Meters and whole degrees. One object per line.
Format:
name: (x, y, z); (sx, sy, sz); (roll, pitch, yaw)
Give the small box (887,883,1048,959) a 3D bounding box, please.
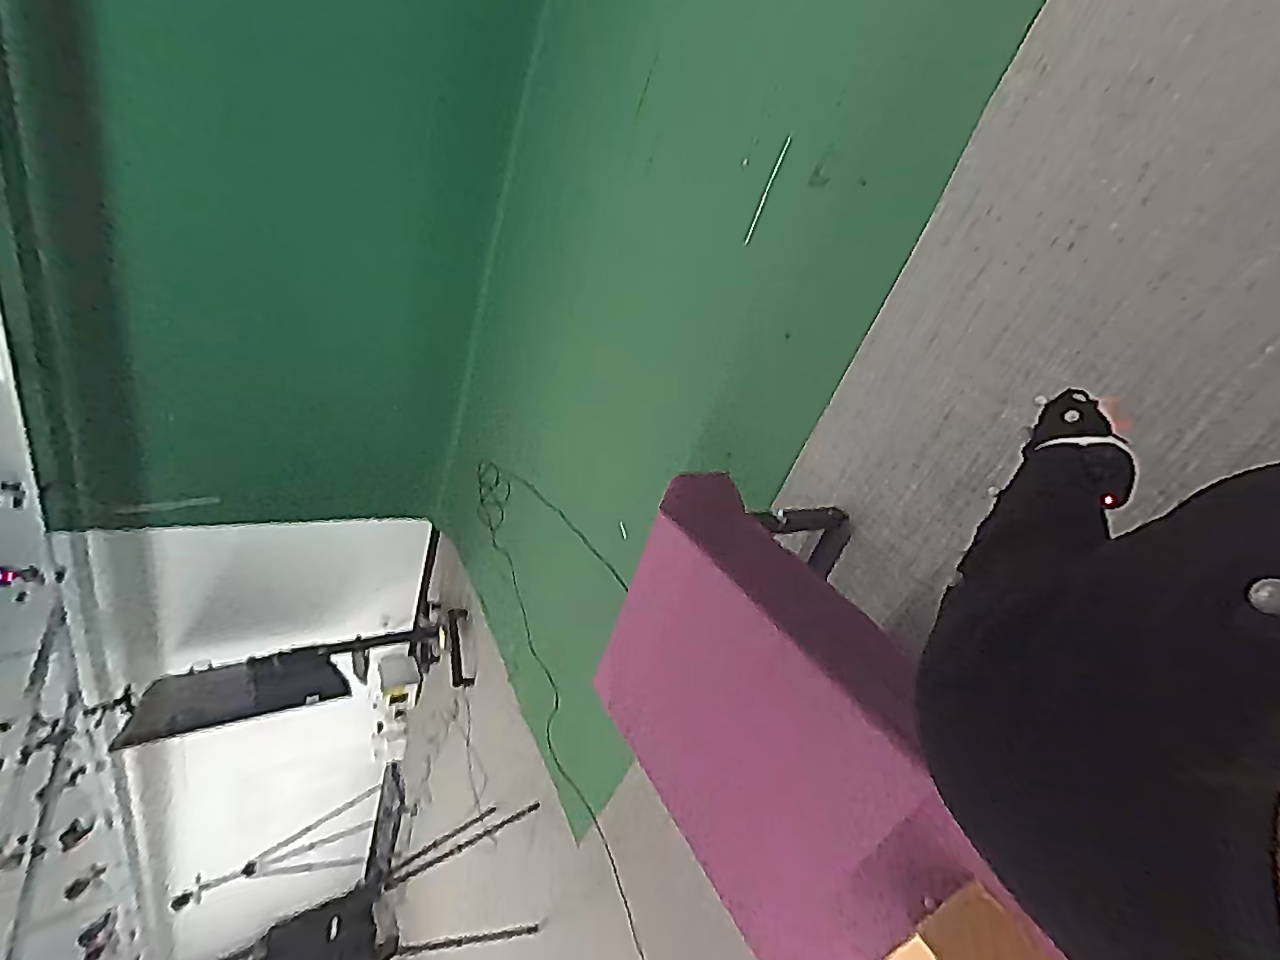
small box: (0.424, 0.663, 0.676); (0.179, 0.176, 0.168); (48, 126, 42)
